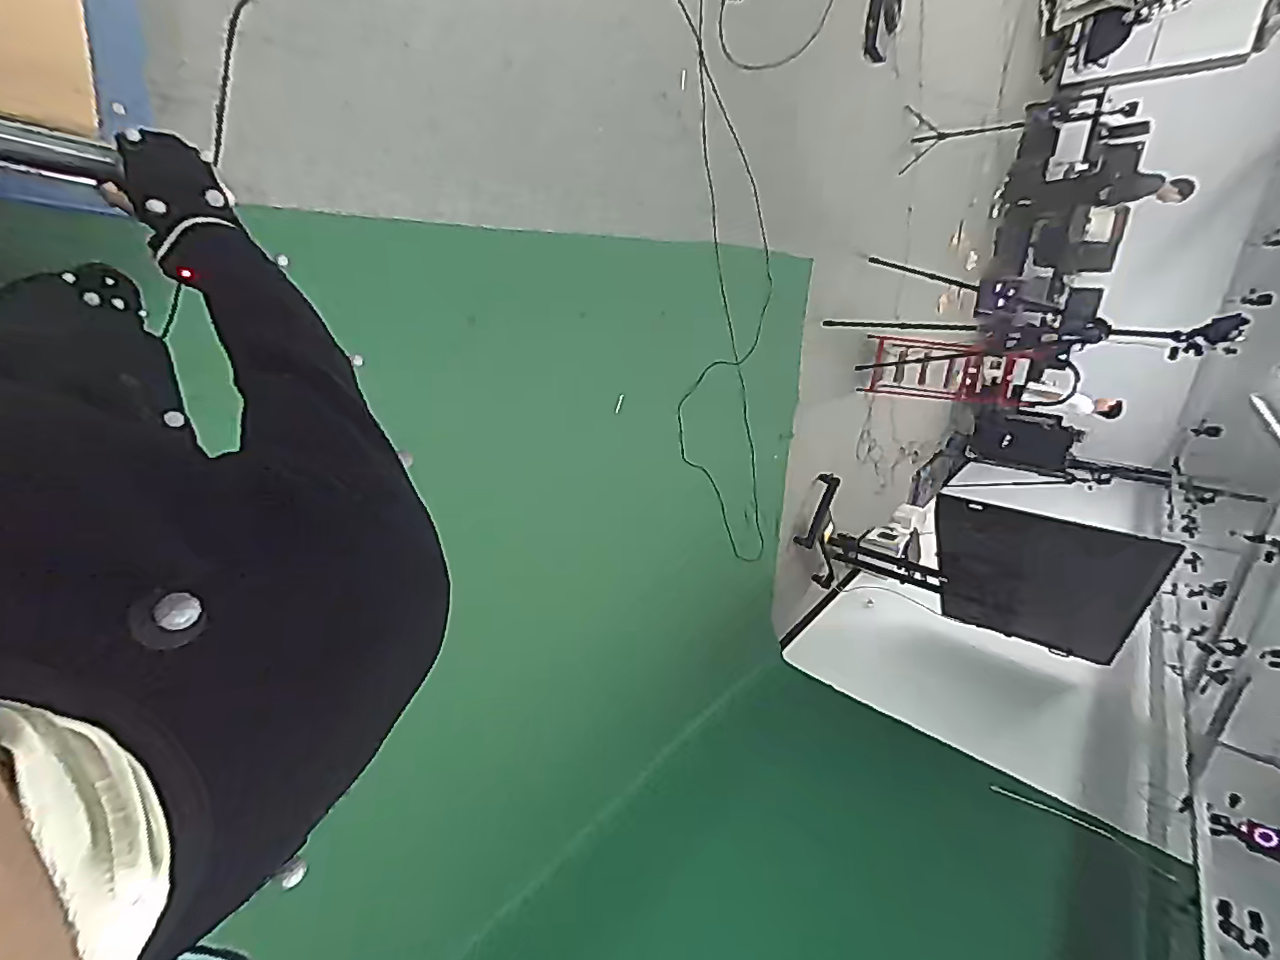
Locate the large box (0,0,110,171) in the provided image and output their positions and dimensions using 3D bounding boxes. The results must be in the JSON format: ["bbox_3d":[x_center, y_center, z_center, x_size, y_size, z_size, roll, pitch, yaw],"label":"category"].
[{"bbox_3d":[-0.957,-0.680,0.707,0.320,0.320,0.408,-12,112,-48],"label":"large box"}]
